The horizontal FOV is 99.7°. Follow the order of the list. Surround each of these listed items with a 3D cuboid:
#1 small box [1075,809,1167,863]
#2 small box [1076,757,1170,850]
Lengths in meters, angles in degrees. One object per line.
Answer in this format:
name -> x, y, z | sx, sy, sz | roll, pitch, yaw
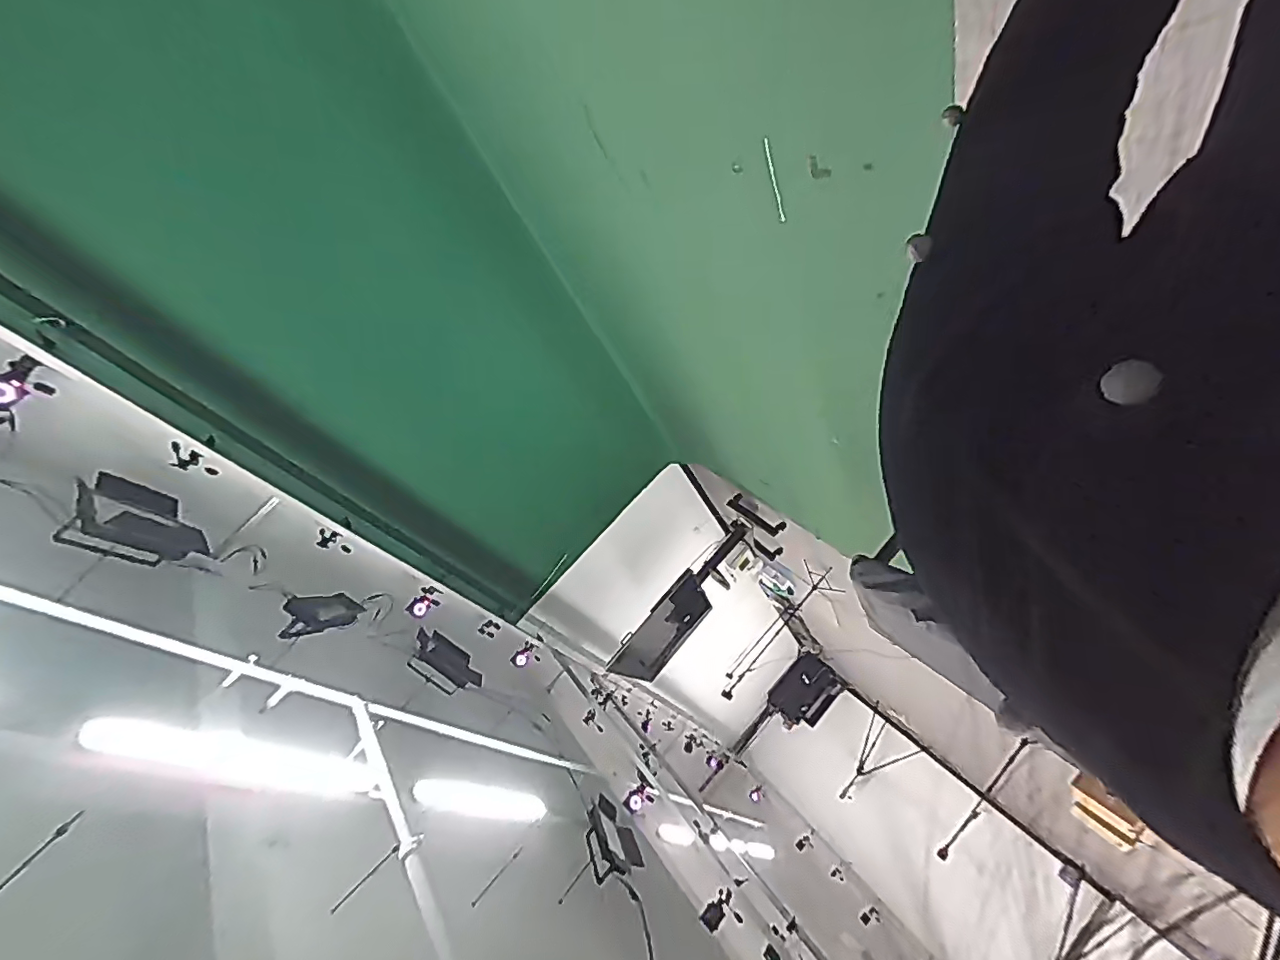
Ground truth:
small box -> 1.696, 1.206, 1.913 | 0.179, 0.176, 0.168 | 36, 168, 45
small box -> 1.557, 1.037, 1.742 | 0.168, 0.176, 0.179 | 50, 171, -35
